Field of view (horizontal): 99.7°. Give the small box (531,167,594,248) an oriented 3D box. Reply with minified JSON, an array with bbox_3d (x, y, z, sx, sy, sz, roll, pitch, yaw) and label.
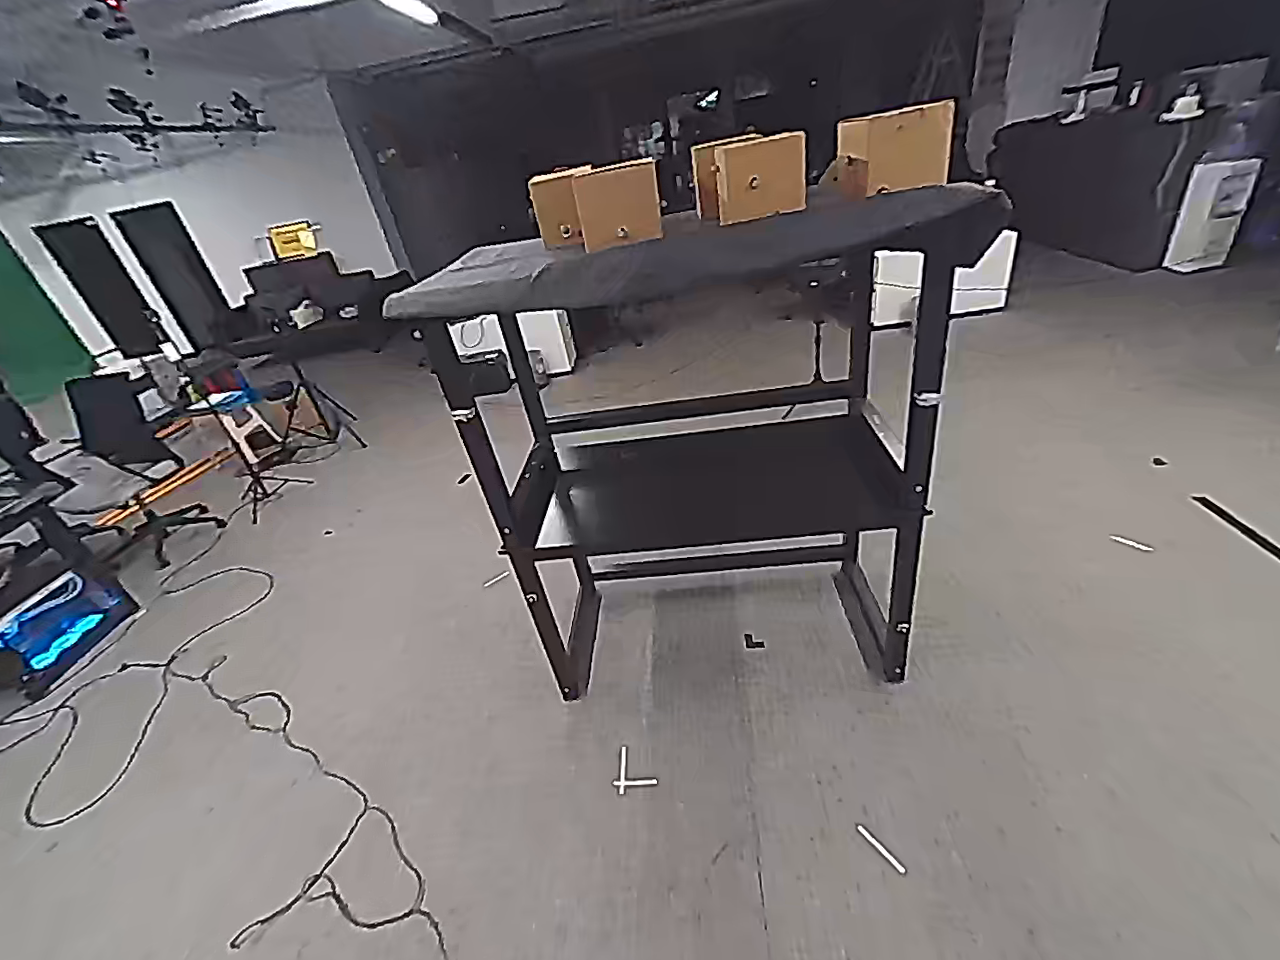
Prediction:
[{"bbox_3d":[-0.188,-0.746,1.482,0.168,0.176,0.179,-11,32,3],"label":"small box"}]

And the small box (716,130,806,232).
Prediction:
[{"bbox_3d":[0.266,-0.658,1.195,0.168,0.176,0.179,-8,31,6],"label":"small box"}]

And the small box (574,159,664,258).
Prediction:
[{"bbox_3d":[-0.039,-0.619,1.232,0.179,0.176,0.168,-7,31,6],"label":"small box"}]

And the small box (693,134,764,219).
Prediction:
[{"bbox_3d":[0.239,-0.808,1.440,0.179,0.176,0.168,-7,33,8],"label":"small box"}]

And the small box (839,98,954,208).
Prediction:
[{"bbox_3d":[0.536,-0.688,1.150,0.168,0.176,0.179,-10,30,4],"label":"small box"}]
